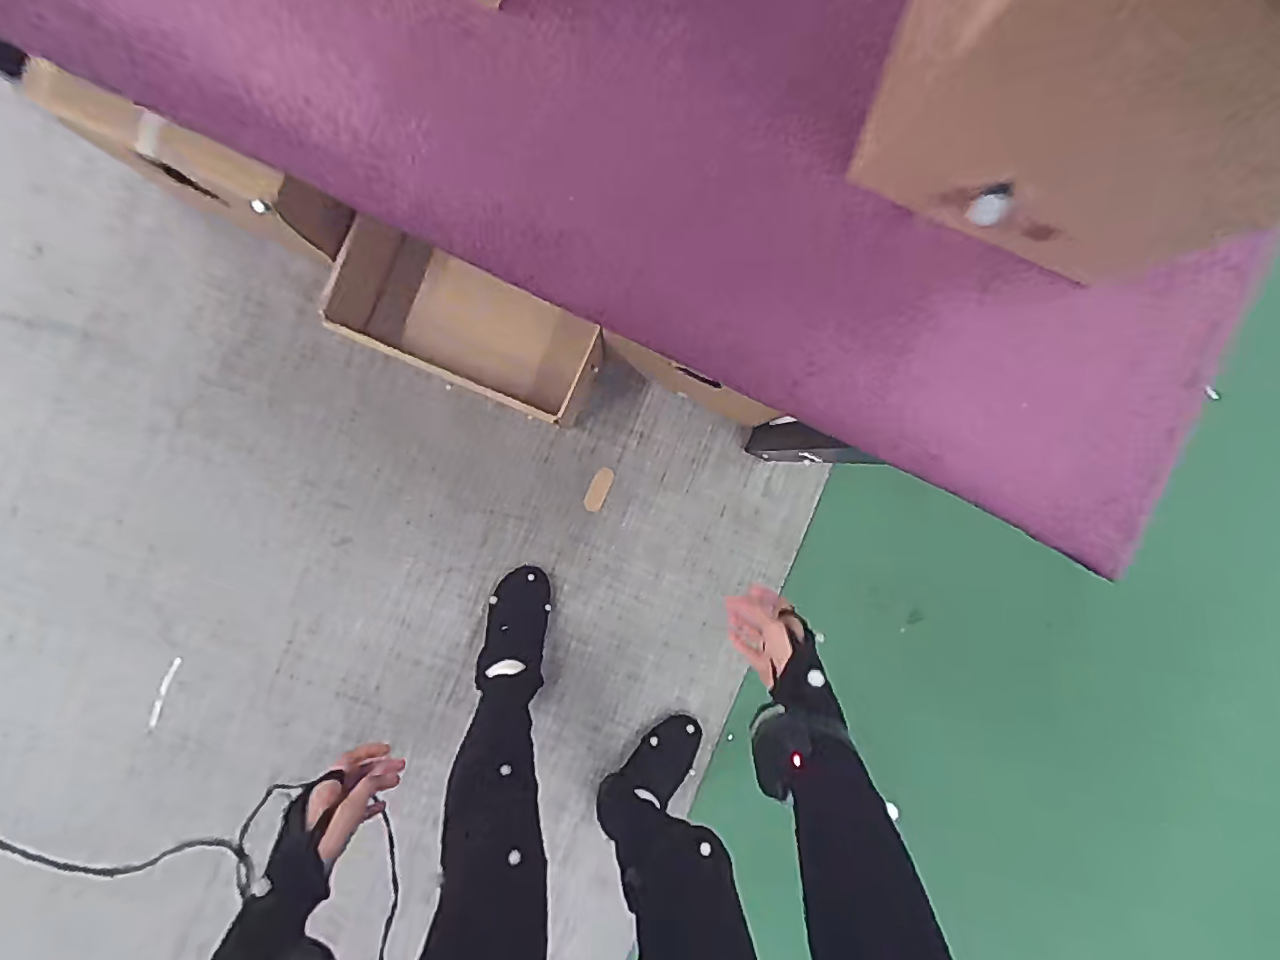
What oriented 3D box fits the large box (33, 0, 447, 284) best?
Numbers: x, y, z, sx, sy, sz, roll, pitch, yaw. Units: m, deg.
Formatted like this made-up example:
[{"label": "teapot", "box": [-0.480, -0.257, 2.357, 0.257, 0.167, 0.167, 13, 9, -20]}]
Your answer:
[{"label": "large box", "box": [-0.537, -0.581, 0.813, 0.320, 0.320, 0.408, 22, 91, -6]}]
